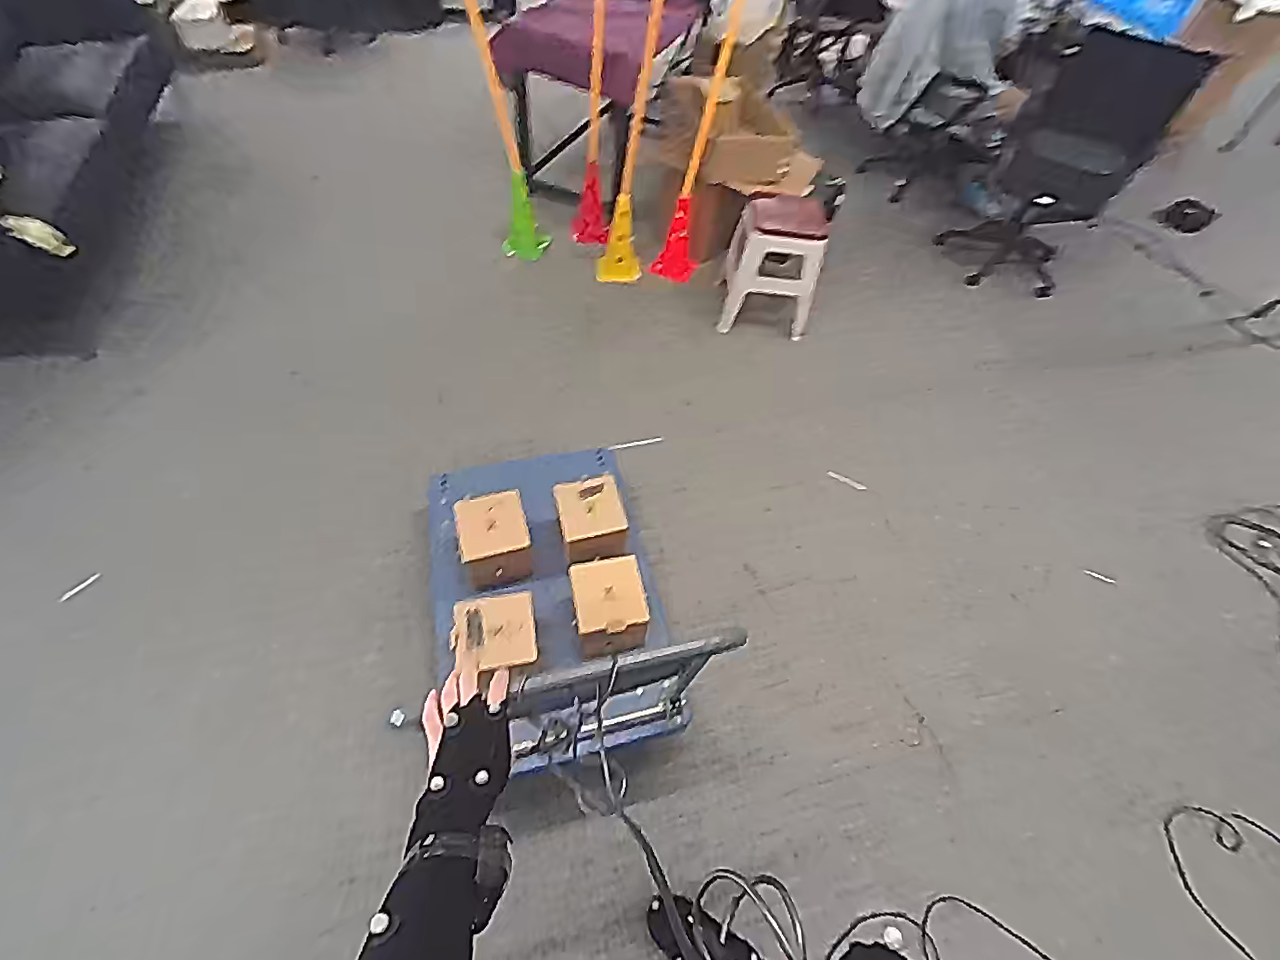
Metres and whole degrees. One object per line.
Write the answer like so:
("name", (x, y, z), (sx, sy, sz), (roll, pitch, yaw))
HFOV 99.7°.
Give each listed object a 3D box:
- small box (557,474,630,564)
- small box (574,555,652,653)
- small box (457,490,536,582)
("small box", (-0.131, 0.112, 1.489), (0.168, 0.176, 0.179), (-11, 58, -12))
("small box", (-0.075, 0.312, 1.358), (0.168, 0.176, 0.179), (-8, 57, -11))
("small box", (-0.378, 0.154, 1.437), (0.168, 0.176, 0.179), (-12, 57, -14))
